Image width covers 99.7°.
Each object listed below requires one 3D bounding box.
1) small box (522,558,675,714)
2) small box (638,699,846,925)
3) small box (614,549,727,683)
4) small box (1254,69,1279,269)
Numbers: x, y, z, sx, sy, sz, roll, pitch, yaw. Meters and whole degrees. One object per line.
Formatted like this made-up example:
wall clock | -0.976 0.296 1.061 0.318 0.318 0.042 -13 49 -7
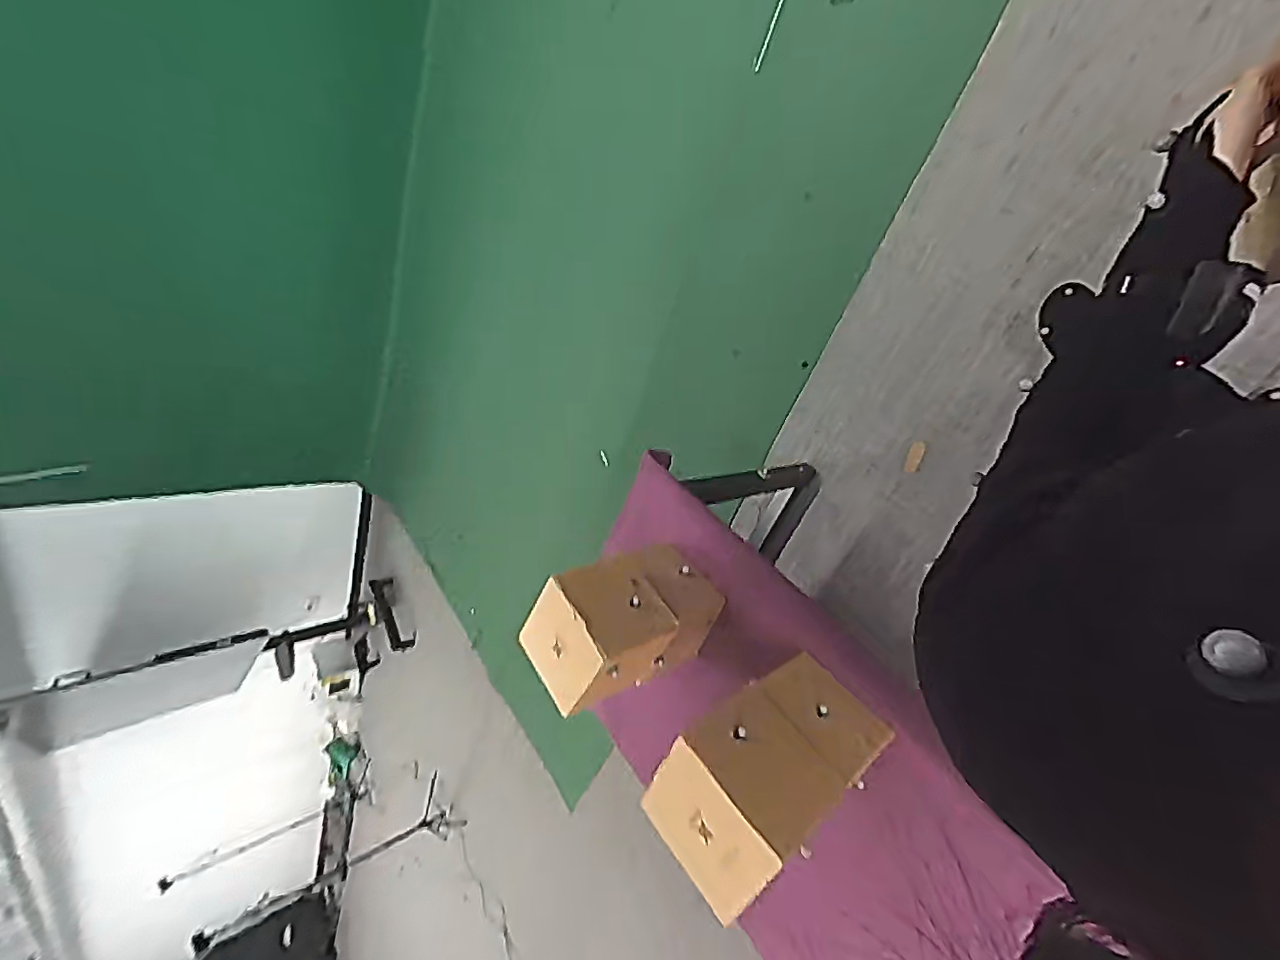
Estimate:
small box | -0.070 0.257 0.919 0.168 0.176 0.179 50 127 29
small box | 0.133 0.421 0.721 0.179 0.176 0.168 43 125 33
small box | 0.033 0.251 1.048 0.179 0.176 0.168 42 124 34
small box | 0.587 -0.271 0.387 0.179 0.176 0.168 1 89 38
